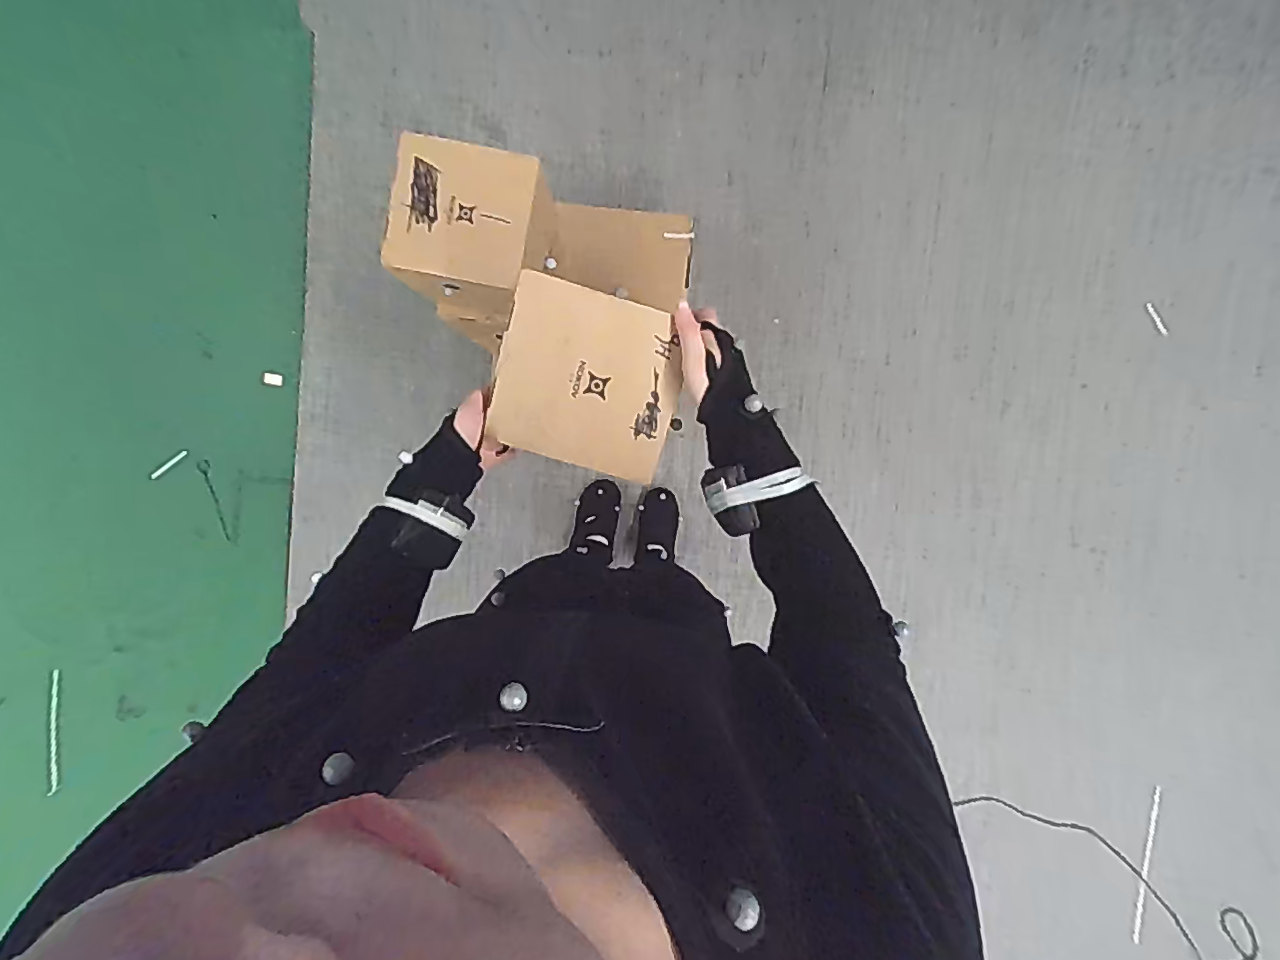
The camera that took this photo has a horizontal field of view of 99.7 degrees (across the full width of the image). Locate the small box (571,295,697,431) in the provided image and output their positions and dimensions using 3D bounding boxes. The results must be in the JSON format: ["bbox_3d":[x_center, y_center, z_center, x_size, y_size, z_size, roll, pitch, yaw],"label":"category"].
[{"bbox_3d":[-0.012,-0.188,0.919,0.168,0.176,0.179,14,94,-1],"label":"small box"}]

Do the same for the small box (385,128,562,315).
[{"bbox_3d":[-0.217,-0.340,0.747,0.179,0.176,0.168,11,94,-1],"label":"small box"}]

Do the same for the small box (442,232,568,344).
[{"bbox_3d":[-0.217,-0.341,0.912,0.168,0.176,0.179,6,94,0],"label":"small box"}]
